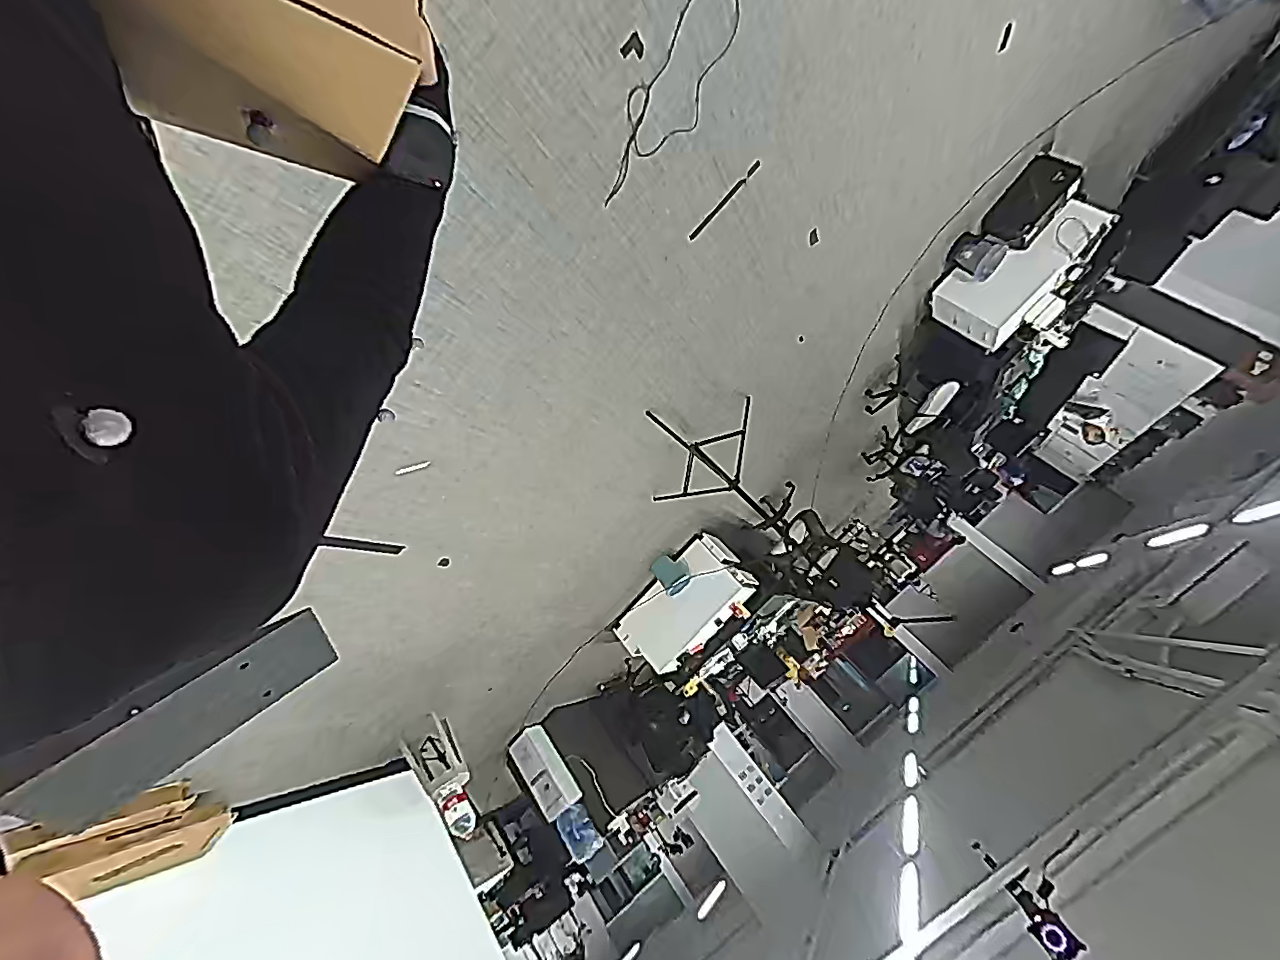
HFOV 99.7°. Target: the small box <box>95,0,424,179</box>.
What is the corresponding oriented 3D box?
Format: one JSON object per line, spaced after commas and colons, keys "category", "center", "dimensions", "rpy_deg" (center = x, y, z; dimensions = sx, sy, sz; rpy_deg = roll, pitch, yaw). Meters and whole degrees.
{"category": "small box", "center": [-0.276, -0.360, 0.401], "dimensions": [0.179, 0.168, 0.176], "rpy_deg": [0, 175, -38]}
